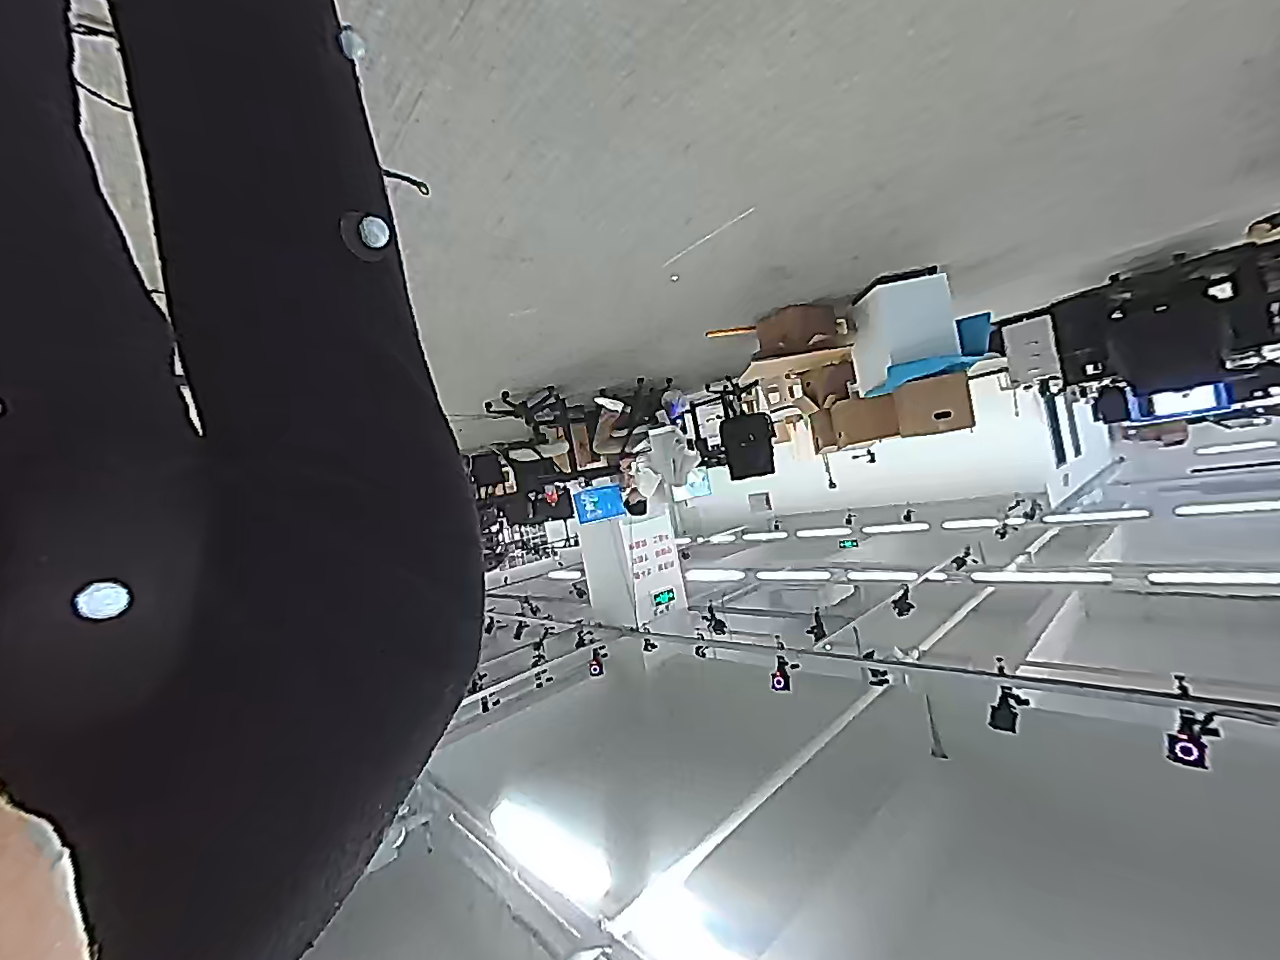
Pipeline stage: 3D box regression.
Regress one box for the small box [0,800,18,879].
[{"bbox_3d":[-1.864,1.029,1.493,0.179,0.176,0.168,-9,-178,44],"label":"small box"}]
